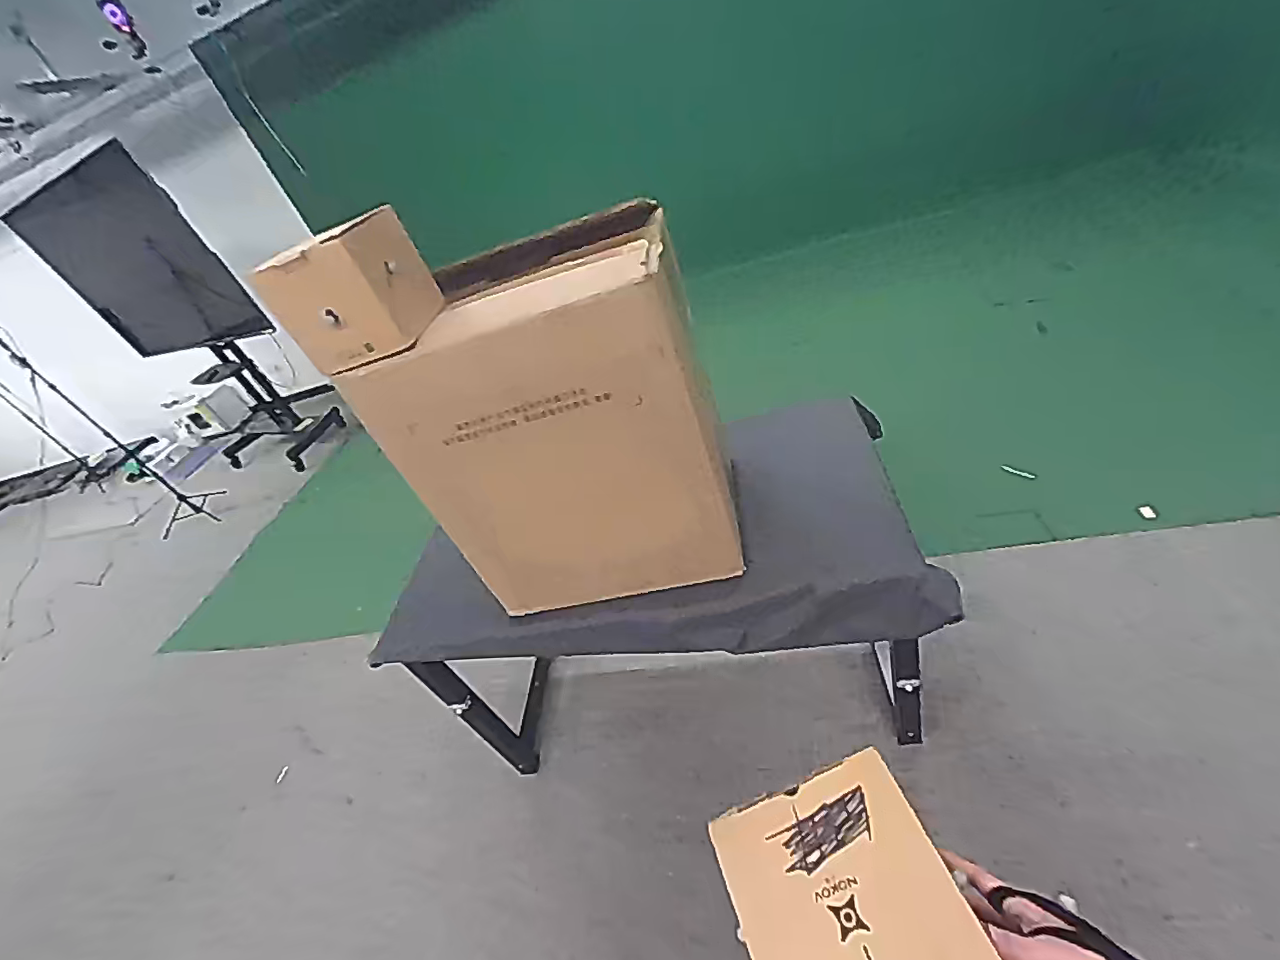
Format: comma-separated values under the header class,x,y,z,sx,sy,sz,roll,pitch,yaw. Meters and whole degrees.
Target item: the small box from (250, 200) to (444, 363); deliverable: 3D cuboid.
class,x,y,z,sx,sy,sz,roll,pitch,yaw
small box,-0.436,-0.299,0.841,0.168,0.176,0.179,-13,39,15
